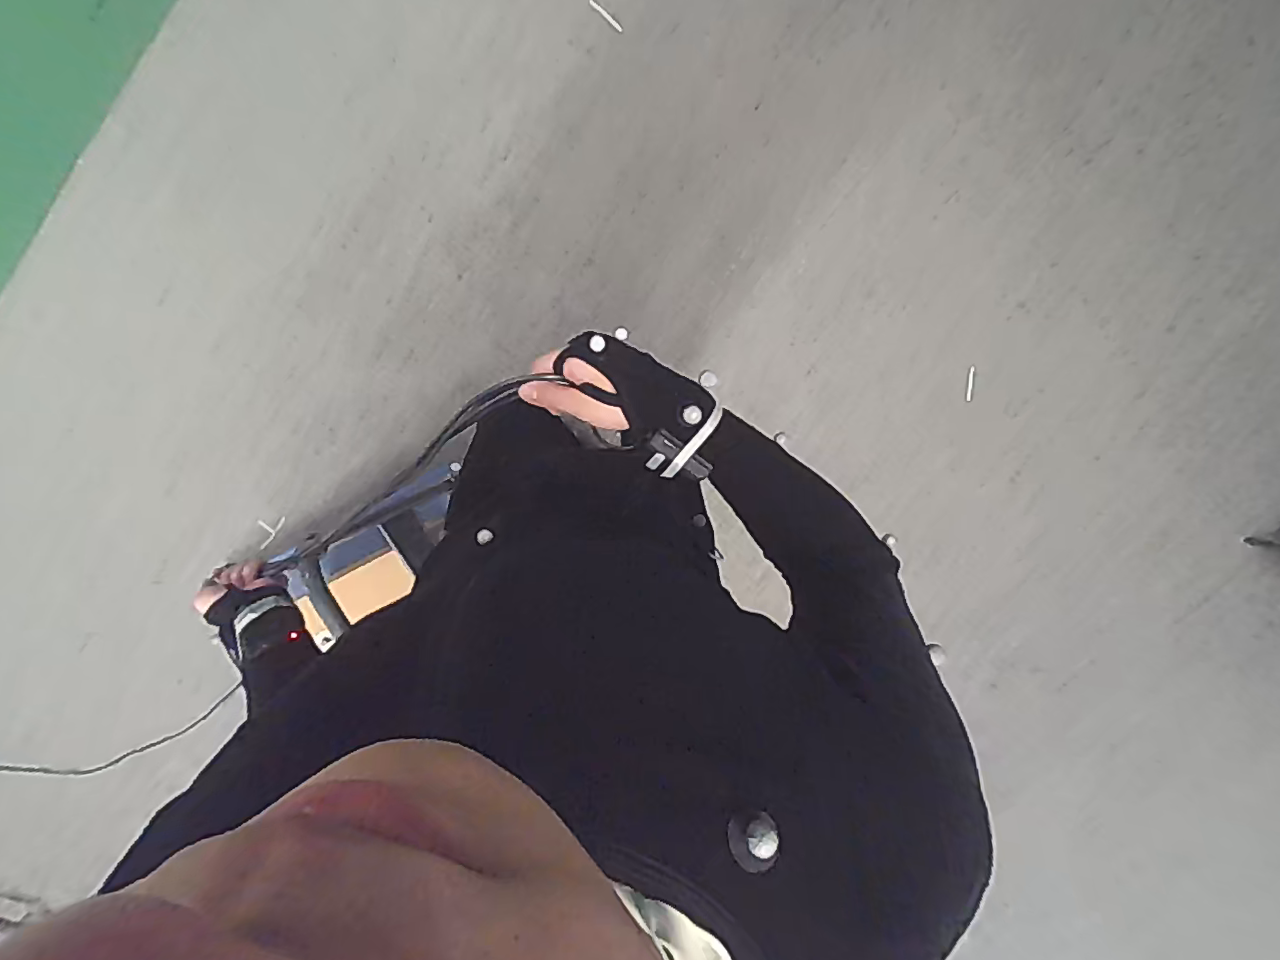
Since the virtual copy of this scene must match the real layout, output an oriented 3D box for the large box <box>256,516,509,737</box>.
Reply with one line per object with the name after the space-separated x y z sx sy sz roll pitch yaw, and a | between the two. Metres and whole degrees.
-0.602 0.338 1.339 0.408 0.320 0.320 -27 97 5 | large box
